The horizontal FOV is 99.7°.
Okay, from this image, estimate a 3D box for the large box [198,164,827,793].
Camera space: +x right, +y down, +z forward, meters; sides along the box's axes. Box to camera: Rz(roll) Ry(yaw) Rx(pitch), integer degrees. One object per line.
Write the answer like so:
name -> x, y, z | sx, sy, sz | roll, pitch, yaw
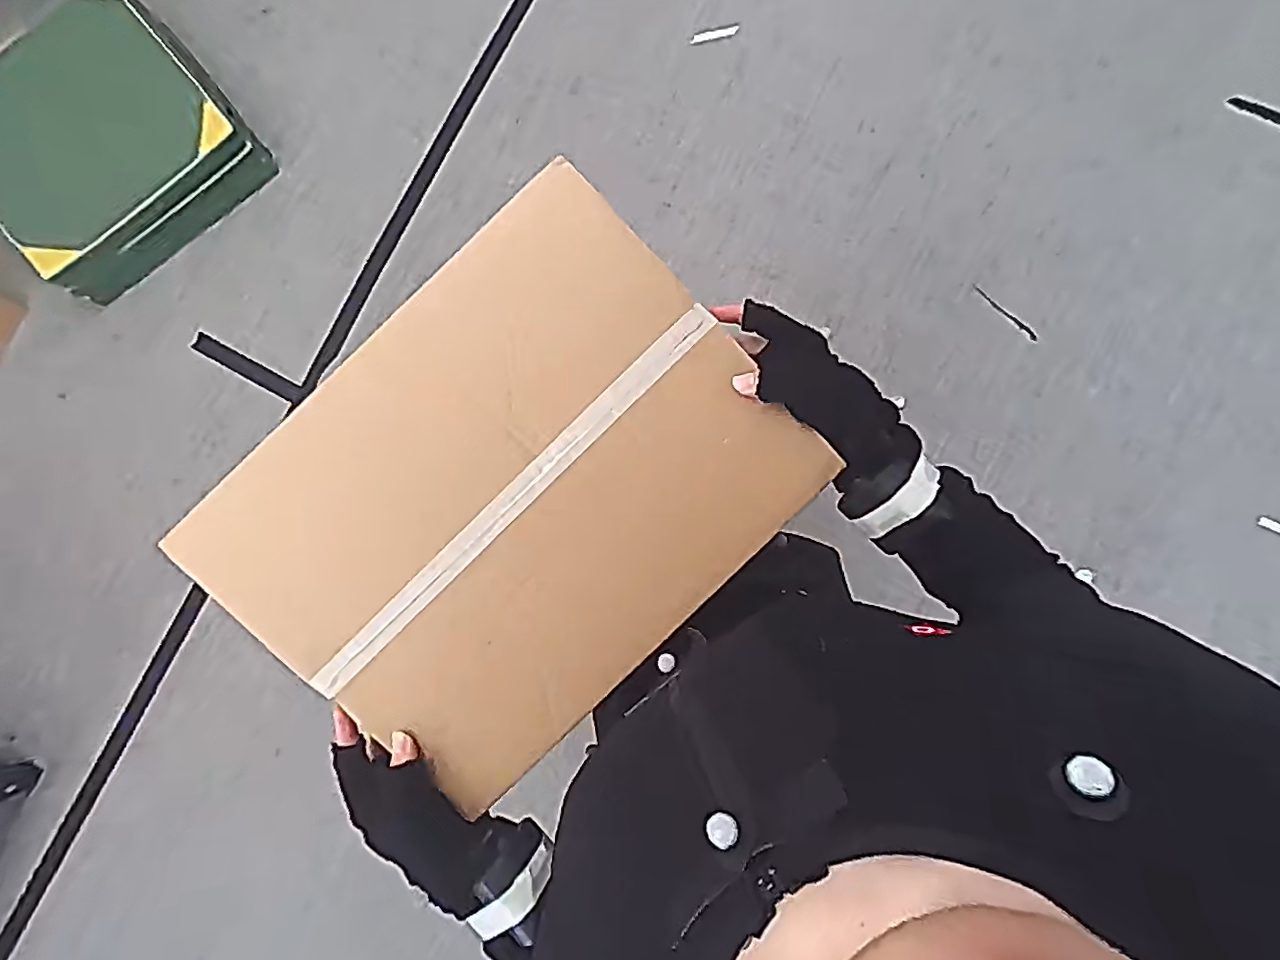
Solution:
large box -> -0.102, -0.001, 0.566 | 0.408, 0.320, 0.320 | -44, 96, 1
